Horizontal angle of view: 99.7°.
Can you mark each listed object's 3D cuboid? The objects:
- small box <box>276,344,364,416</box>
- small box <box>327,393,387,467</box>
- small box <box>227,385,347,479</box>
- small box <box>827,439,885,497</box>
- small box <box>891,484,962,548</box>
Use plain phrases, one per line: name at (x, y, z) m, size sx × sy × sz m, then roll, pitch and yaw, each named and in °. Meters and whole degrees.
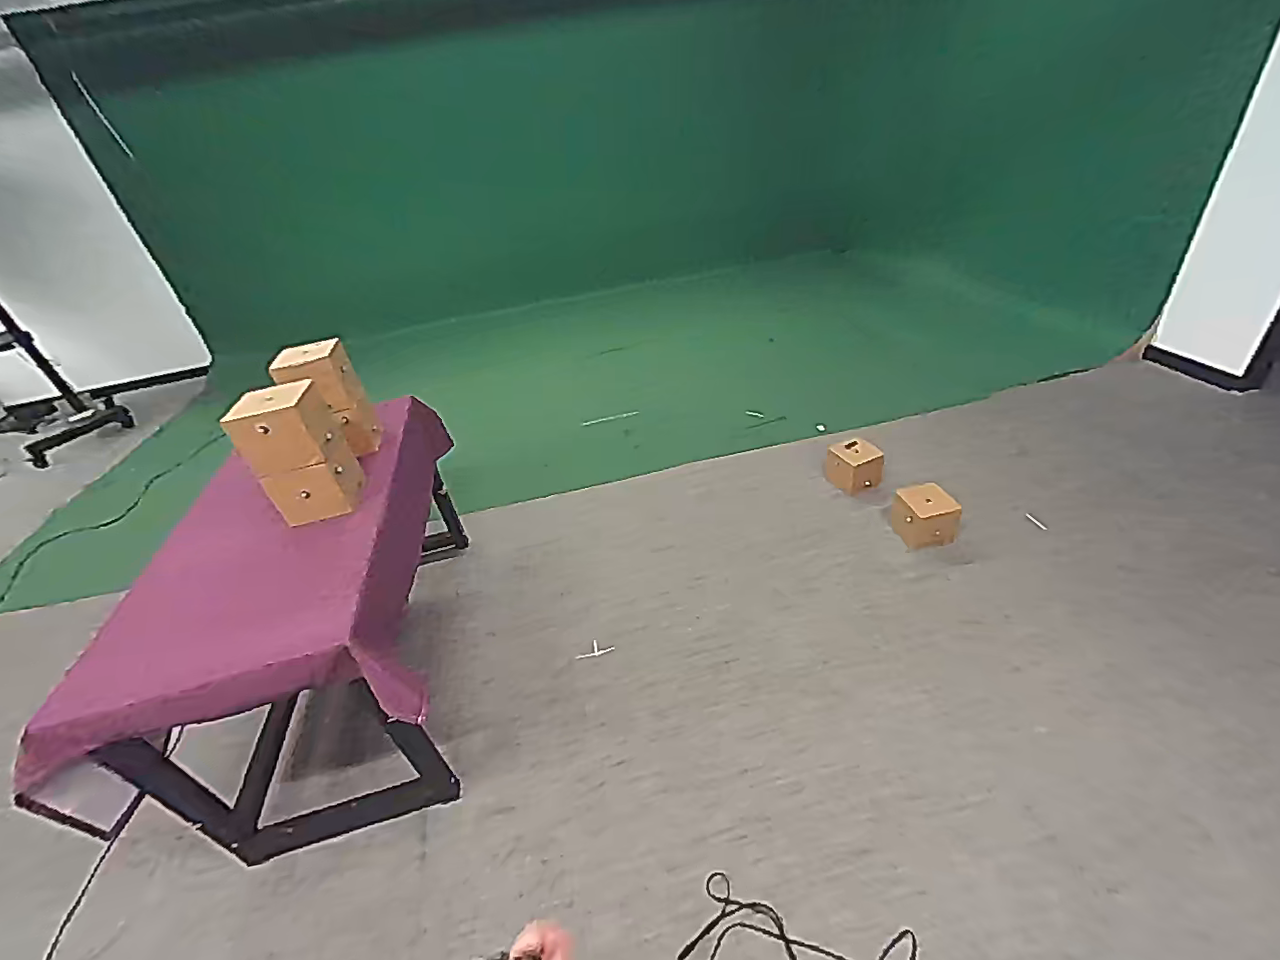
small box at (-0.977, -0.295, 1.669) m, size 0.168 × 0.176 × 0.179 m, roll -15°, pitch 36°, yaw -9°
small box at (-0.955, -0.161, 1.761) m, size 0.179 × 0.176 × 0.168 m, roll -15°, pitch 35°, yaw -8°
small box at (-0.903, -0.121, 1.402) m, size 0.179 × 0.176 × 0.168 m, roll -13°, pitch 36°, yaw -4°
small box at (0.949, -0.052, 2.390) m, size 0.168 × 0.176 × 0.179 m, roll -20°, pitch 36°, yaw -13°
small box at (1.093, 0.144, 2.075) m, size 0.168 × 0.176 × 0.179 m, roll -12°, pitch 35°, yaw -3°
